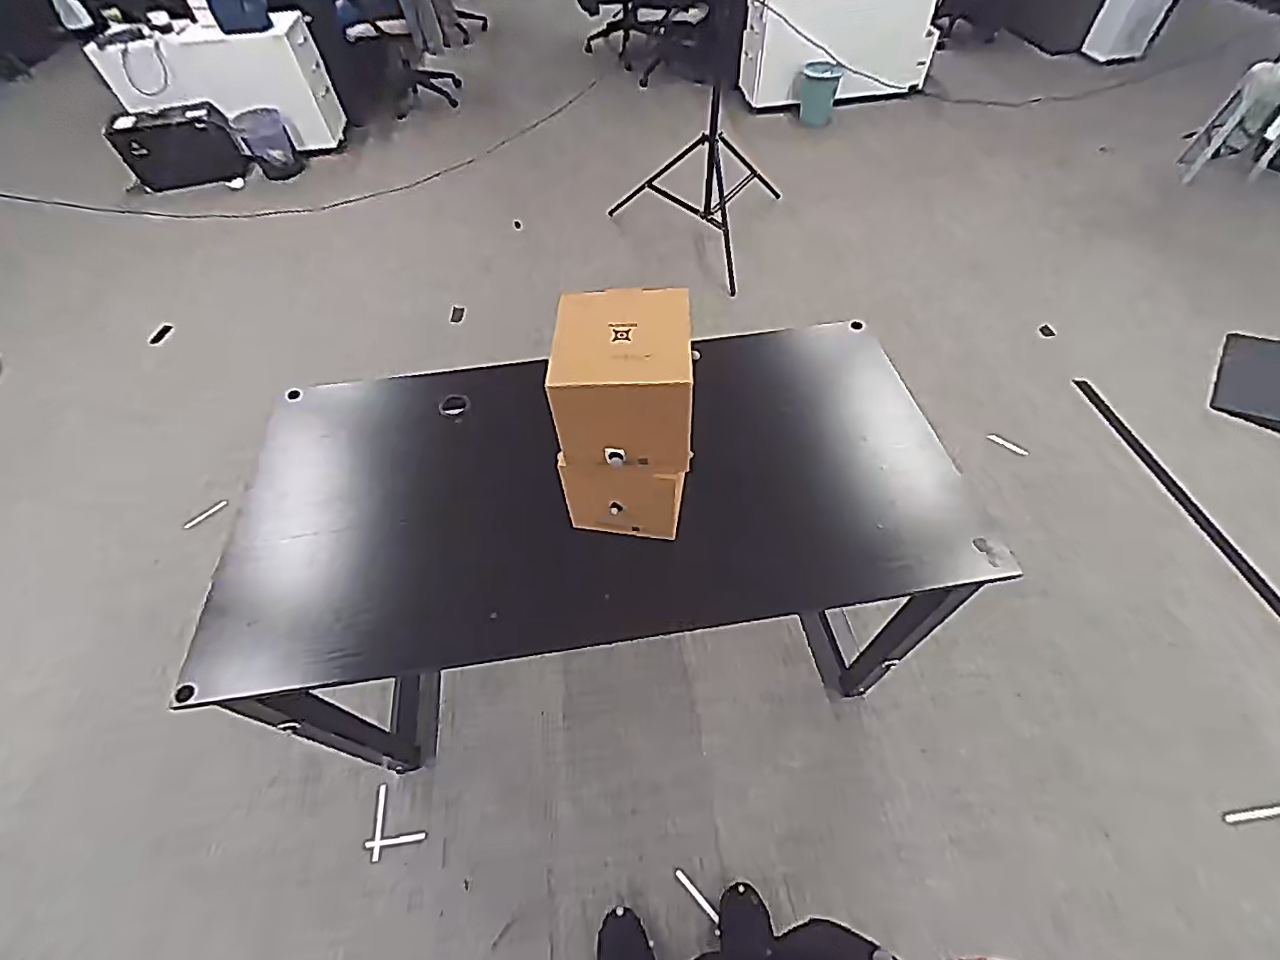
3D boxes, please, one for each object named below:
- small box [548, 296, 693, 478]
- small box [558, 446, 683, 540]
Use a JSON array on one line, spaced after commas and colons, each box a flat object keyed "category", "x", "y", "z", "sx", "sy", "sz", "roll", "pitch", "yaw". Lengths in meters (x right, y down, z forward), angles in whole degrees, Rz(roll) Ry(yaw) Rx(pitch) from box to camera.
[{"category": "small box", "x": -0.018, "y": -0.120, "z": 0.718, "sx": 0.168, "sy": 0.176, "sz": 0.179, "roll": -1, "pitch": 55, "yaw": 3}, {"category": "small box", "x": -0.017, "y": -0.025, "z": 0.851, "sx": 0.168, "sy": 0.176, "sz": 0.179, "roll": 7, "pitch": 54, "yaw": 7}]
